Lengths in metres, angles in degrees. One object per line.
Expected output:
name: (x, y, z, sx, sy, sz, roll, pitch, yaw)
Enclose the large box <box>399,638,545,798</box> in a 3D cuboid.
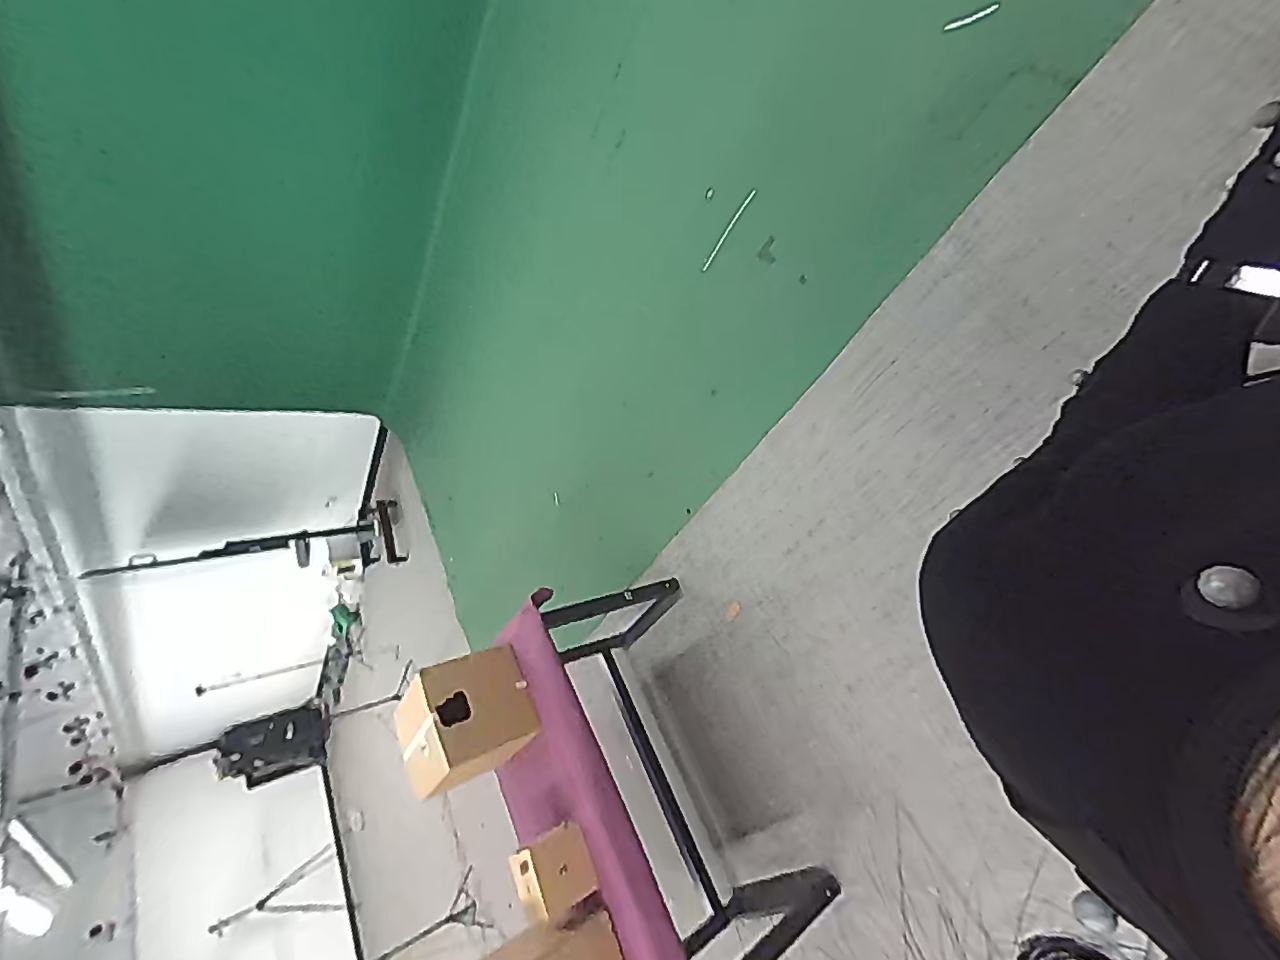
large box: (-0.569, 0.784, 1.801, 0.408, 0.320, 0.320, -52, 58, 38)
